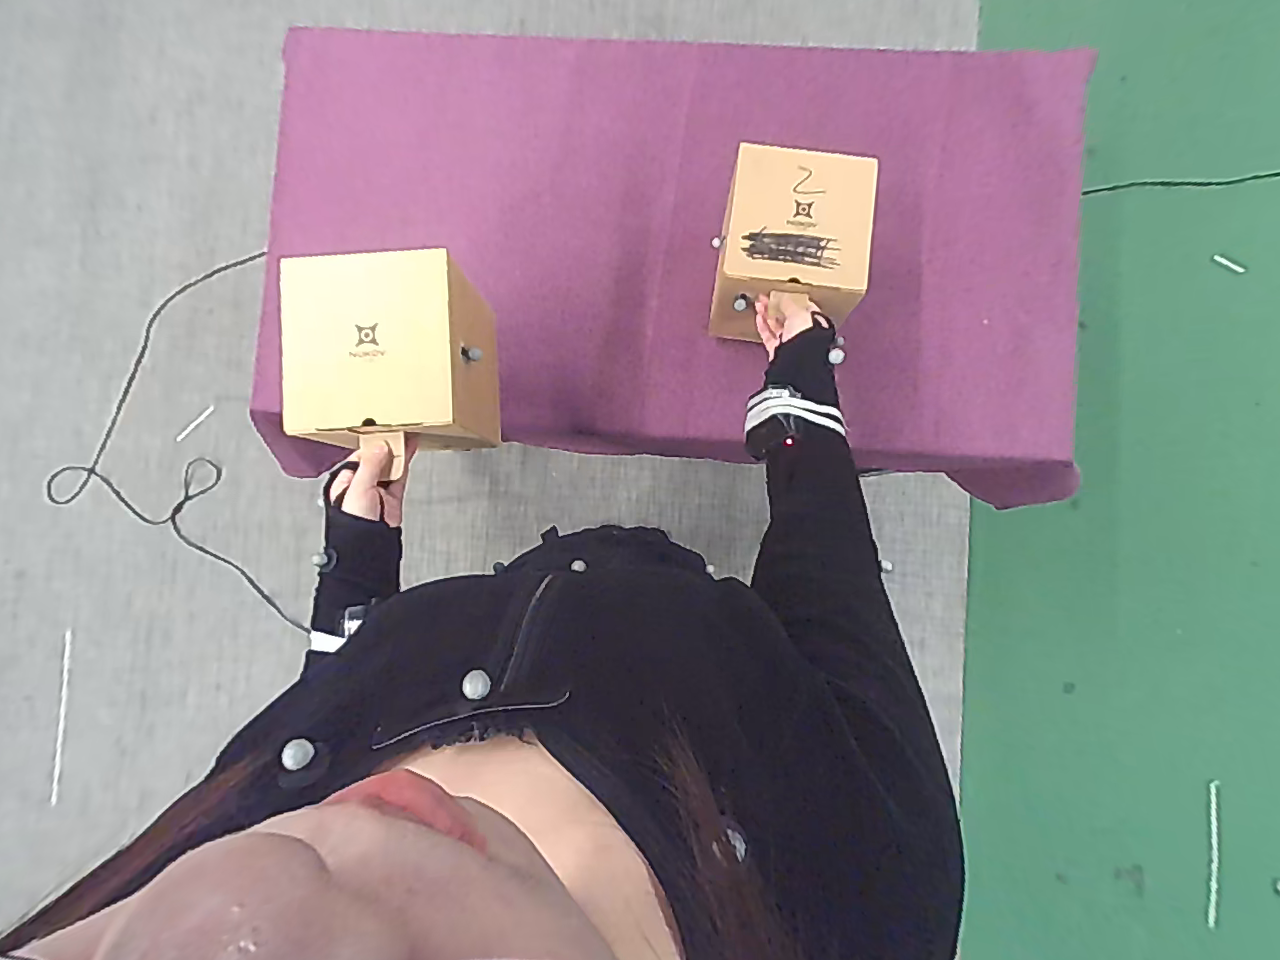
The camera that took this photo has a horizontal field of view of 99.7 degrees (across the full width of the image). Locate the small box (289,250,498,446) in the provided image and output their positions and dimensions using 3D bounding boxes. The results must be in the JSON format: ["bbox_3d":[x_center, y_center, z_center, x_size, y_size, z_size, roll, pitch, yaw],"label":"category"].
[{"bbox_3d":[-0.267,-0.138,0.618,0.168,0.176,0.179,-3,87,0],"label":"small box"}]
